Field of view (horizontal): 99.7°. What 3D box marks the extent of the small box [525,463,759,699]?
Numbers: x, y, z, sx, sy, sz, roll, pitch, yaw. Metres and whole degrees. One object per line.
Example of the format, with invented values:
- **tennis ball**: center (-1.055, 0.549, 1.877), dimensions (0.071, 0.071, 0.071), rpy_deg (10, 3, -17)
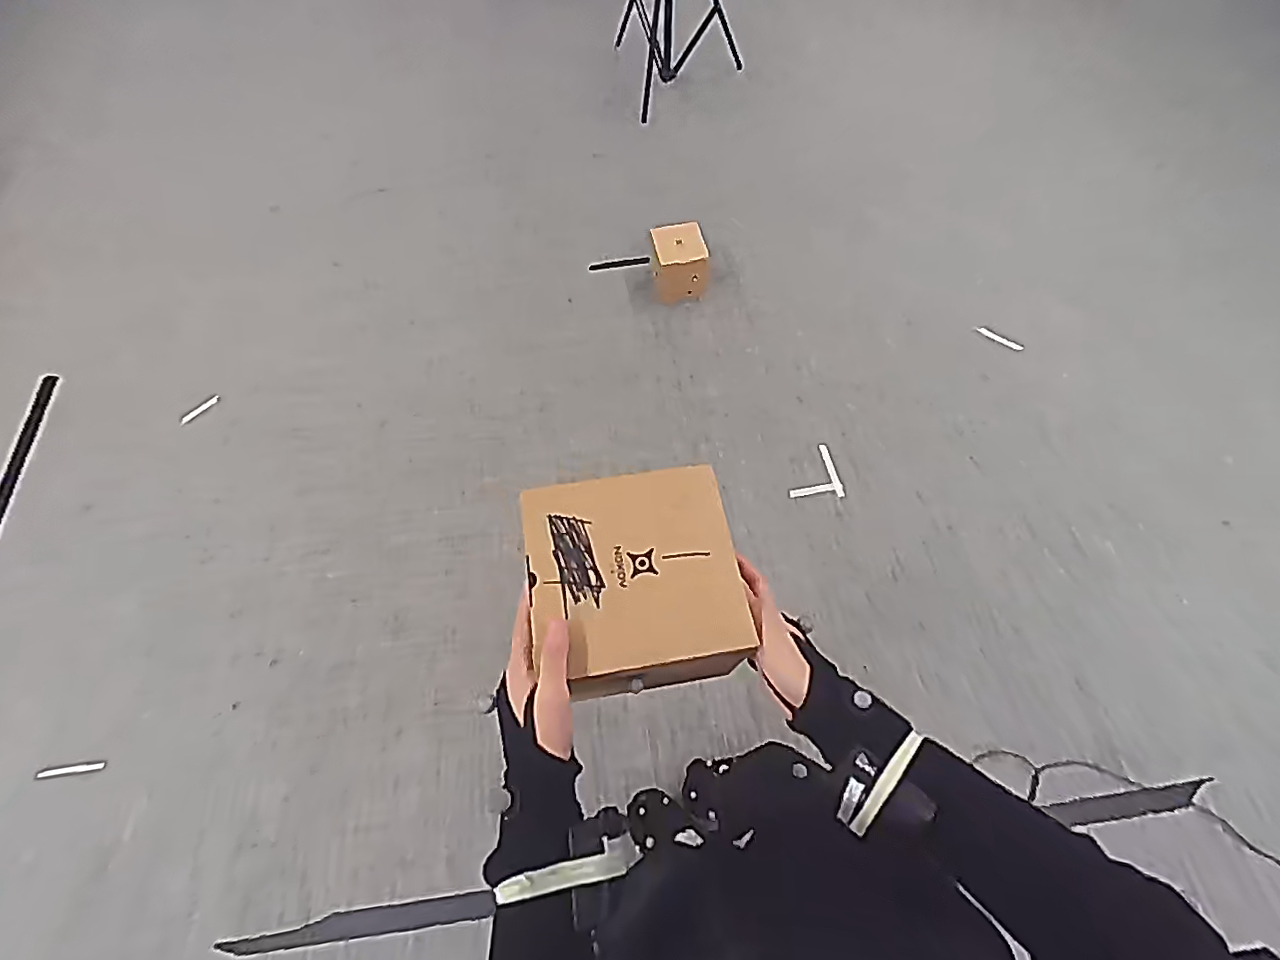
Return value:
- **small box**: center (-0.003, 0.104, 0.516), dimensions (0.179, 0.176, 0.168), rpy_deg (-8, 64, -4)
